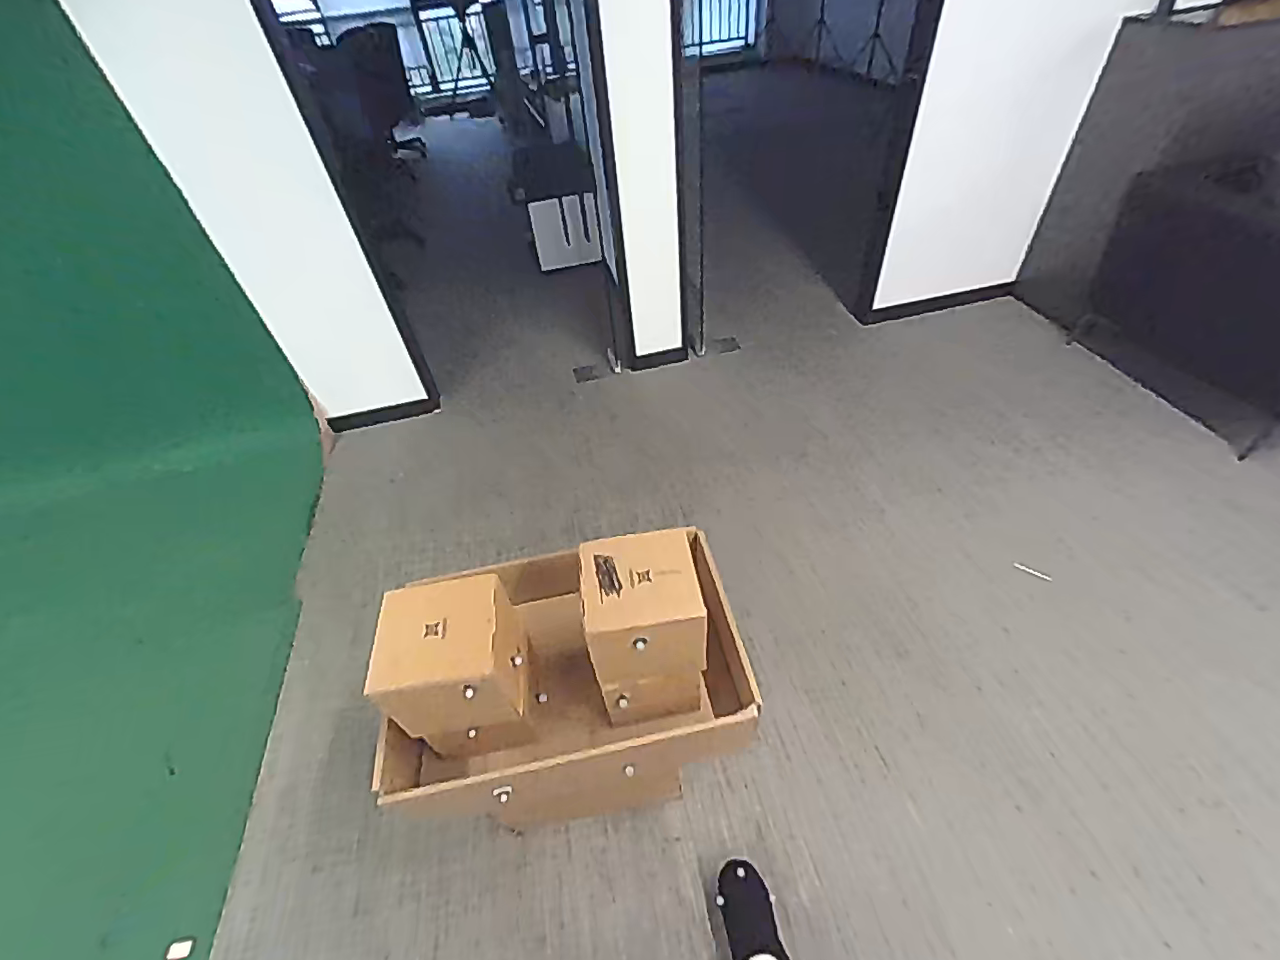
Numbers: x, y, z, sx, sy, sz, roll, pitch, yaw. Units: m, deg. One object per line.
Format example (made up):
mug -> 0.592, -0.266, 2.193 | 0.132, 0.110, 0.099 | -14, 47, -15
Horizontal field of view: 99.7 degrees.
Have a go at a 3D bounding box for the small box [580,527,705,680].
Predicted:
small box -> 0.005, 0.201, 0.868 | 0.179, 0.176, 0.168 | -8, 45, -2

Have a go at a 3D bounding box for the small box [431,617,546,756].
small box -> -0.274, 0.373, 0.970 | 0.179, 0.176, 0.168 | -9, 46, -3

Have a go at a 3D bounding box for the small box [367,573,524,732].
small box -> -0.288, 0.272, 0.843 | 0.179, 0.176, 0.168 | -9, 46, -3
